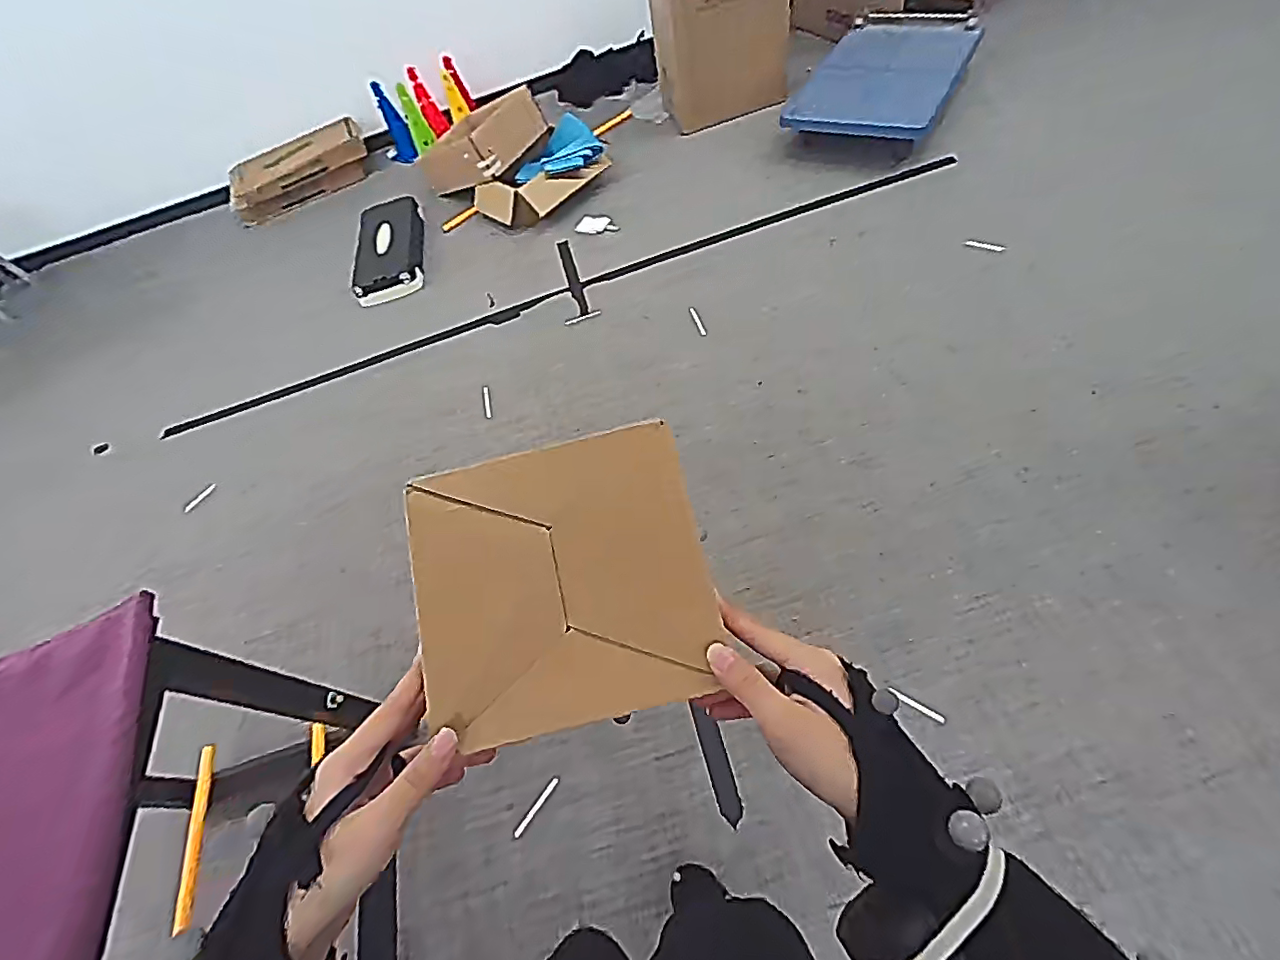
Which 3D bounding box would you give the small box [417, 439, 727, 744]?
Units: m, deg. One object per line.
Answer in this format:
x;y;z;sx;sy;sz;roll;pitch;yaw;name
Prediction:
-0.045;0.085;0.404;0.179;0.176;0.168;-13;72;0;small box
